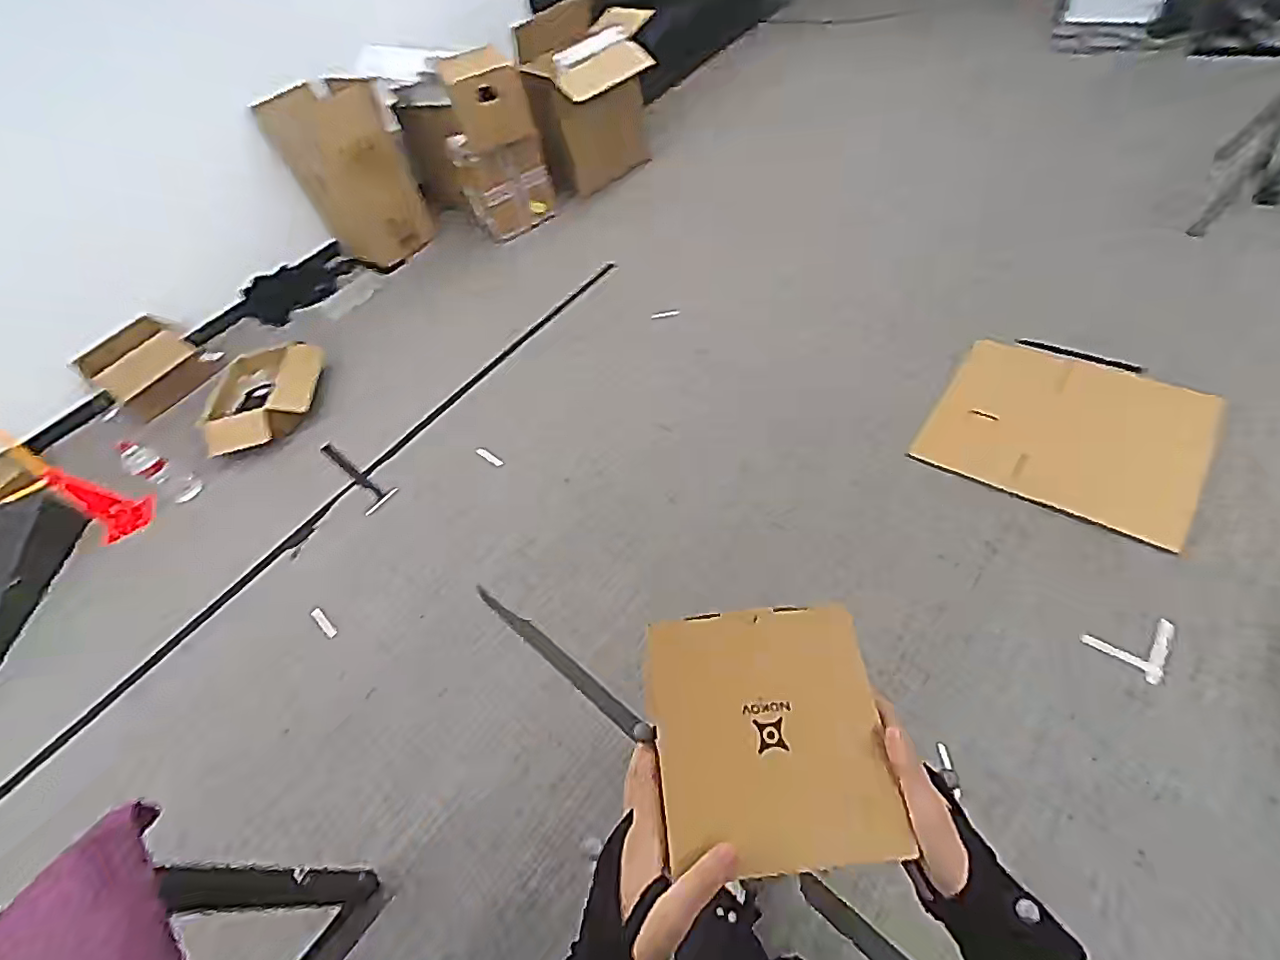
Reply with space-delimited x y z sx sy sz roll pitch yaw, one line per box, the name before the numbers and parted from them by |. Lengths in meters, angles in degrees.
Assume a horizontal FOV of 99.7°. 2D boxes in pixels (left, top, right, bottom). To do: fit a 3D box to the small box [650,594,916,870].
small box | 0.098 0.213 0.464 0.168 0.176 0.179 -4 59 -2
